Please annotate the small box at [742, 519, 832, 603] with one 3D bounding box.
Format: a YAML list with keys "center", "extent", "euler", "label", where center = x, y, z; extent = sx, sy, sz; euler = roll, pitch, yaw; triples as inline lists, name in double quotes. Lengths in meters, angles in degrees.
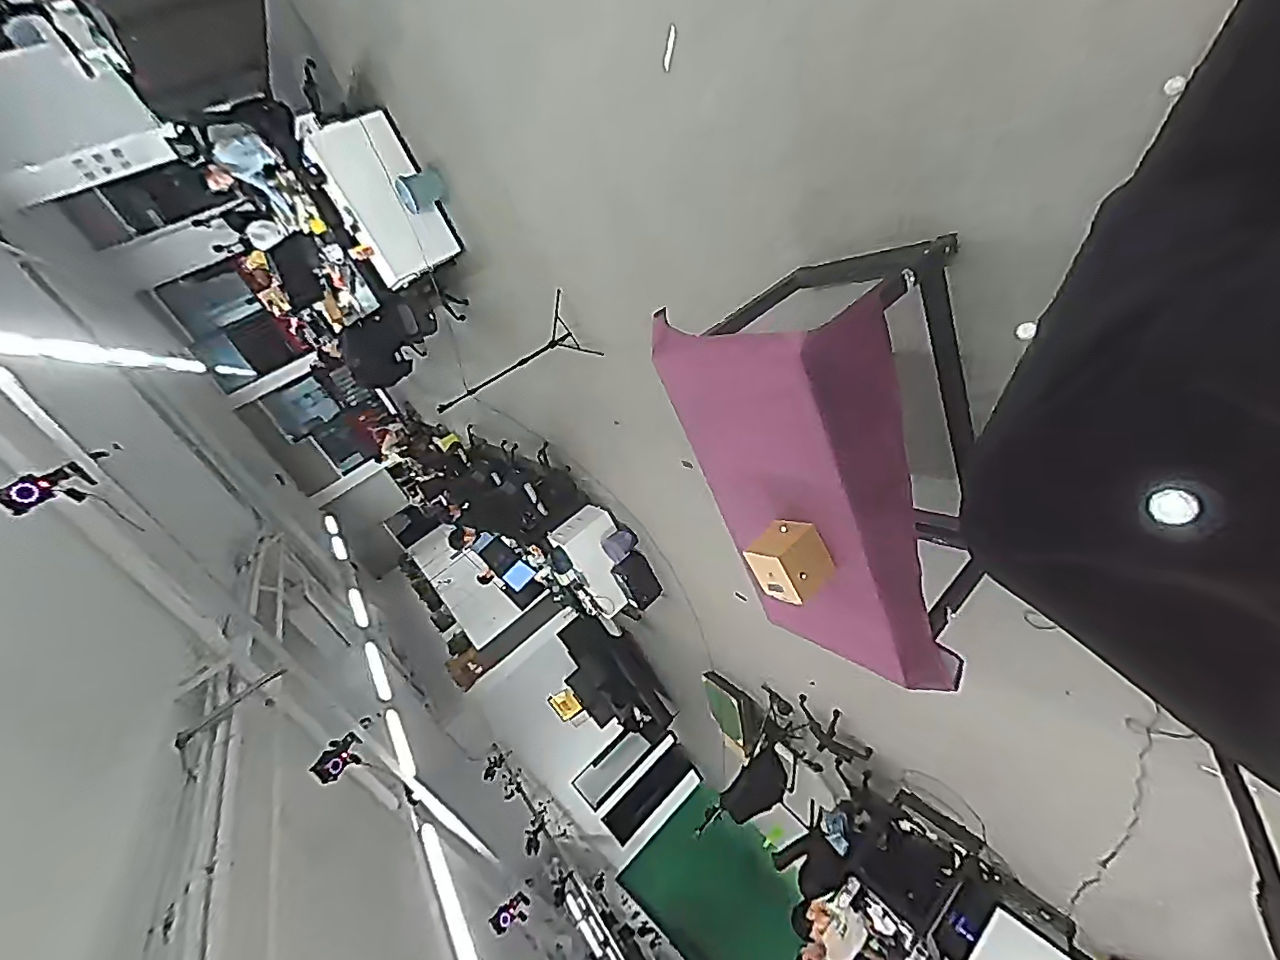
- center: [0.454, 0.242, 1.652]
  extent: [0.179, 0.176, 0.168]
  euler: [59, 157, -16]
  label: "small box"
